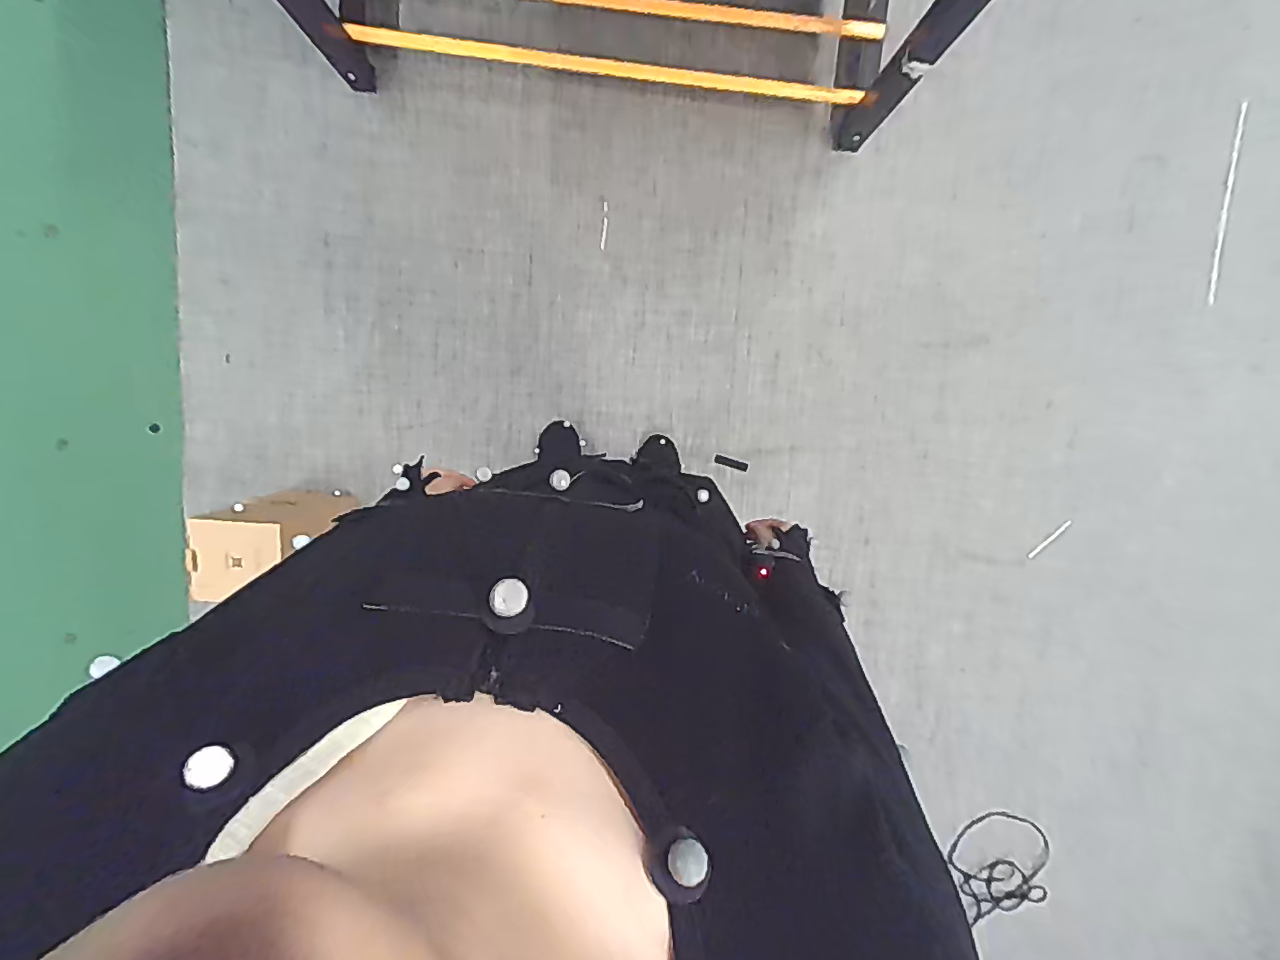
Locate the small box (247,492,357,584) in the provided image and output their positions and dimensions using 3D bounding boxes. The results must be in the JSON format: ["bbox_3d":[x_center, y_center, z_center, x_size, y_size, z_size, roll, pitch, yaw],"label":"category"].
[{"bbox_3d":[-0.791,0.130,1.276,0.168,0.176,0.179,6,98,-2],"label":"small box"}]

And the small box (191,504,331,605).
[{"bbox_3d":[-0.771,0.147,1.115,0.179,0.176,0.168,3,98,-3],"label":"small box"}]
